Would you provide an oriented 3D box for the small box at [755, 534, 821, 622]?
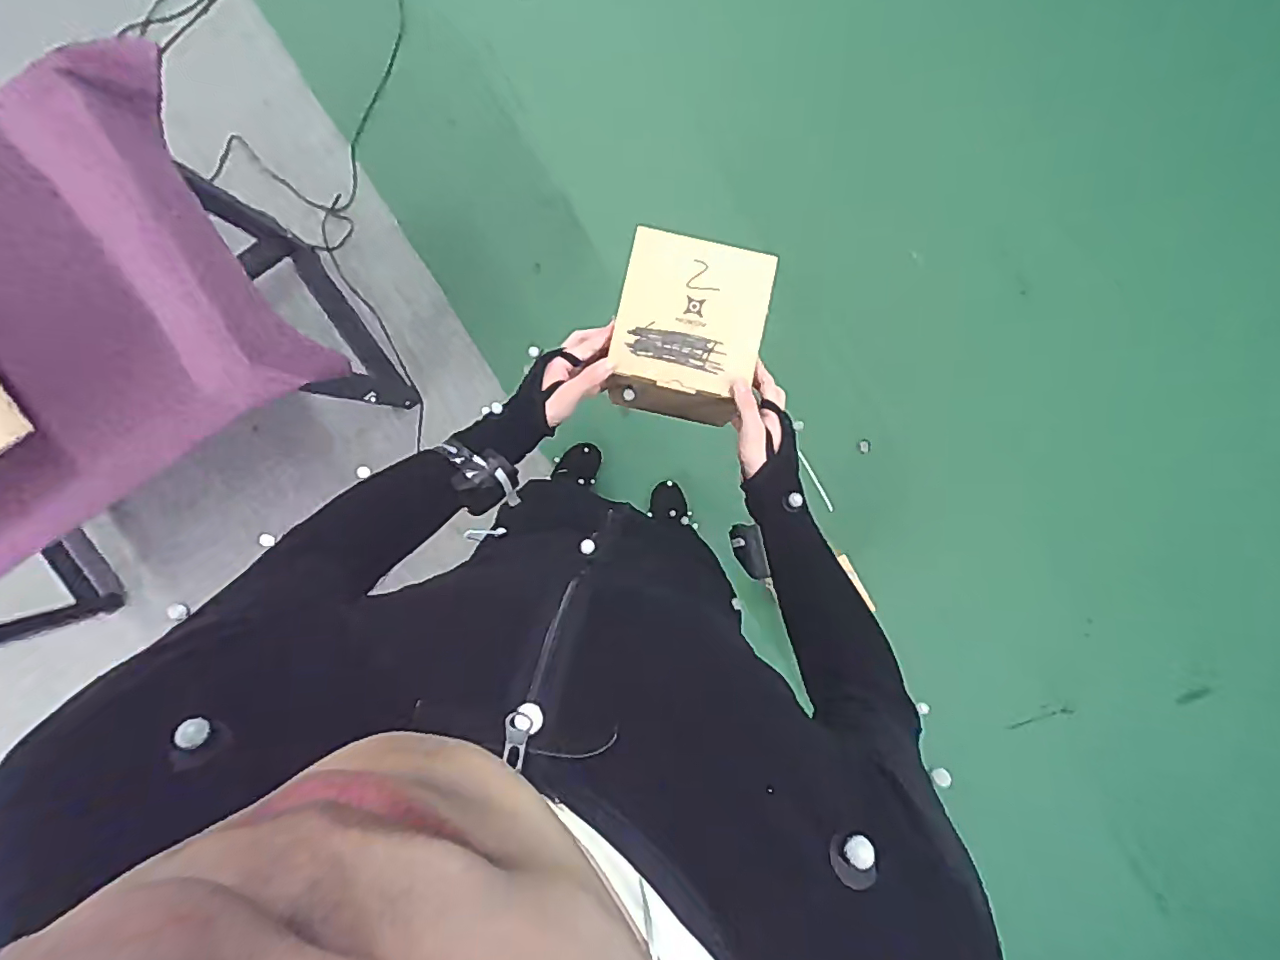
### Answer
[{"bbox_3d":[0.455,0.273,1.555,0.179,0.176,0.168,-31,93,3],"label":"small box"}]

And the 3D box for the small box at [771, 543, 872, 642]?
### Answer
[{"bbox_3d":[0.454,0.282,1.391,0.179,0.176,0.168,-29,93,2],"label":"small box"}]
